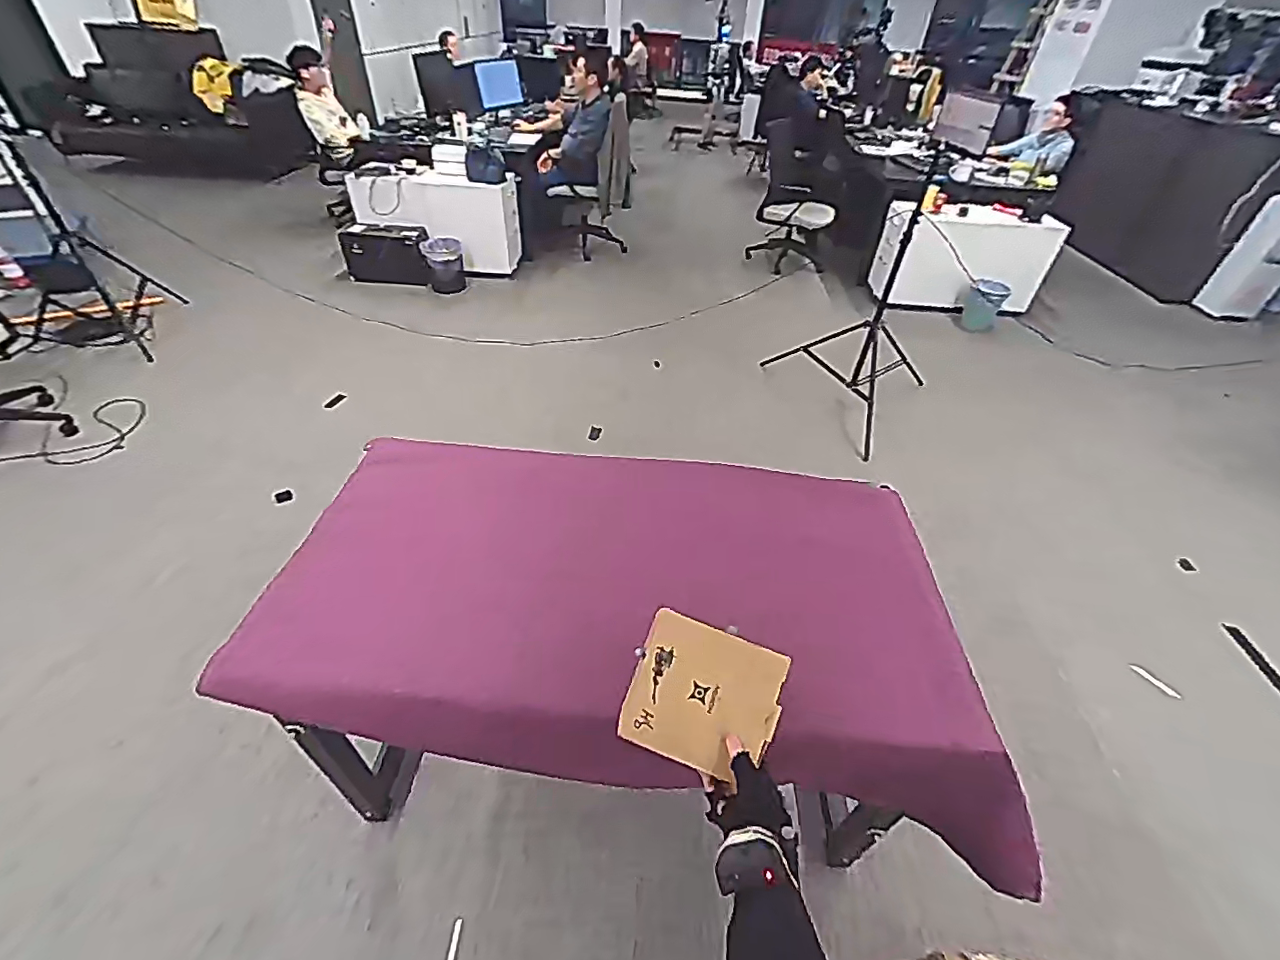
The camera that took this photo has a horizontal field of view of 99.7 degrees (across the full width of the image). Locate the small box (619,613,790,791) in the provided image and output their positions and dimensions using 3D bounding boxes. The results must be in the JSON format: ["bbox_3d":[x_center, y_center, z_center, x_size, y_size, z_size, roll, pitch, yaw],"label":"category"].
[{"bbox_3d":[0.081,0.290,0.750,0.179,0.176,0.168,20,77,4],"label":"small box"}]
